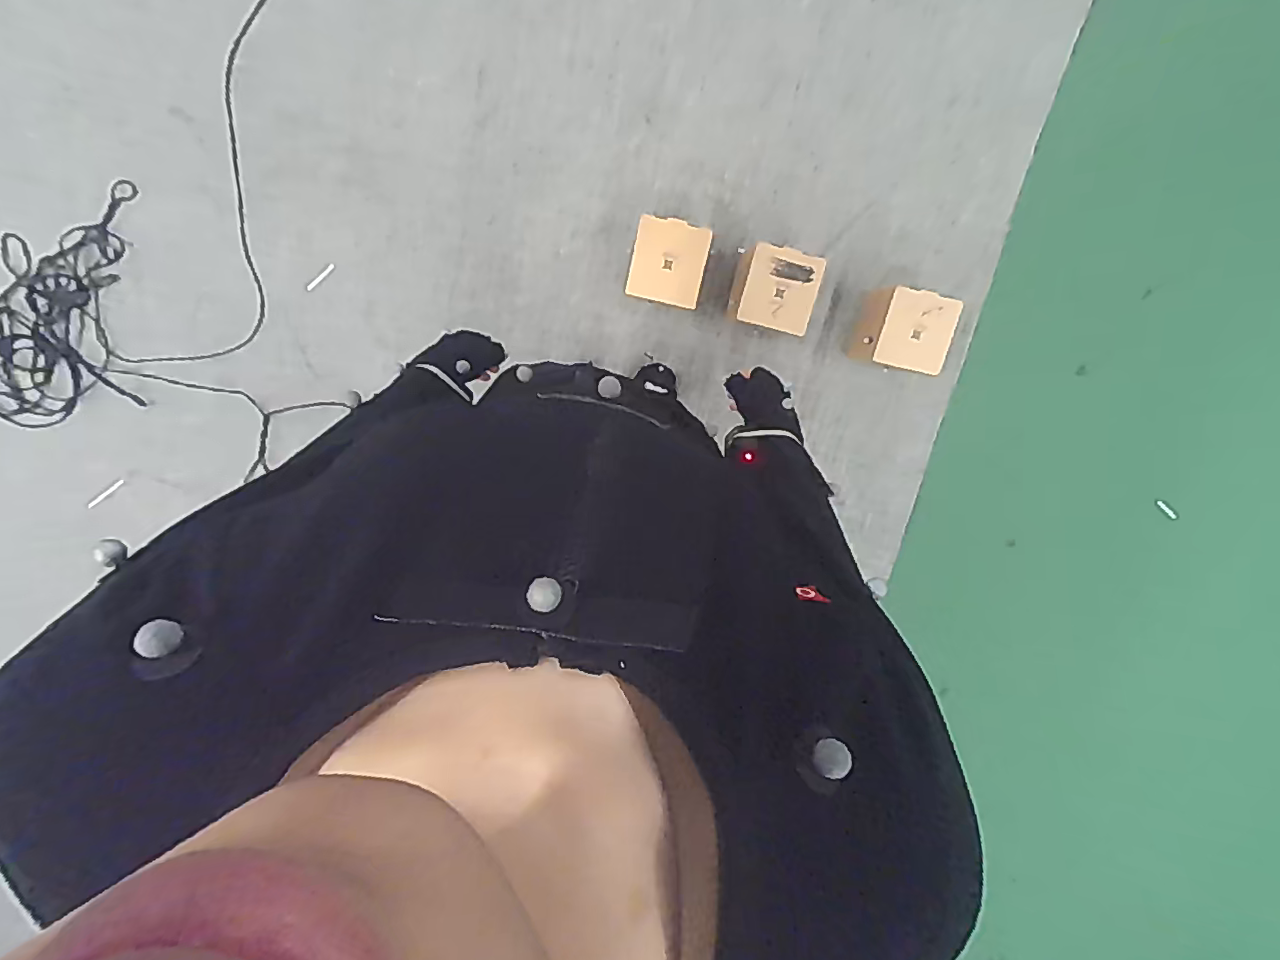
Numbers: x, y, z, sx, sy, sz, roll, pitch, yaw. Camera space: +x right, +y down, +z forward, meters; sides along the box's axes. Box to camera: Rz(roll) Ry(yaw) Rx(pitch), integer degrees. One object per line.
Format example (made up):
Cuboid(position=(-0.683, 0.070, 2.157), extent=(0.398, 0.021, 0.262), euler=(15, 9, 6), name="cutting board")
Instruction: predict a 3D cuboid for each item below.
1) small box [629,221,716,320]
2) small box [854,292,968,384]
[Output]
Cuboid(position=(0.074, -0.487, 1.283), extent=(0.168, 0.176, 0.179), euler=(12, 103, -2), name="small box")
Cuboid(position=(0.645, -0.342, 1.313), extent=(0.168, 0.176, 0.179), euler=(12, 103, -3), name="small box")
